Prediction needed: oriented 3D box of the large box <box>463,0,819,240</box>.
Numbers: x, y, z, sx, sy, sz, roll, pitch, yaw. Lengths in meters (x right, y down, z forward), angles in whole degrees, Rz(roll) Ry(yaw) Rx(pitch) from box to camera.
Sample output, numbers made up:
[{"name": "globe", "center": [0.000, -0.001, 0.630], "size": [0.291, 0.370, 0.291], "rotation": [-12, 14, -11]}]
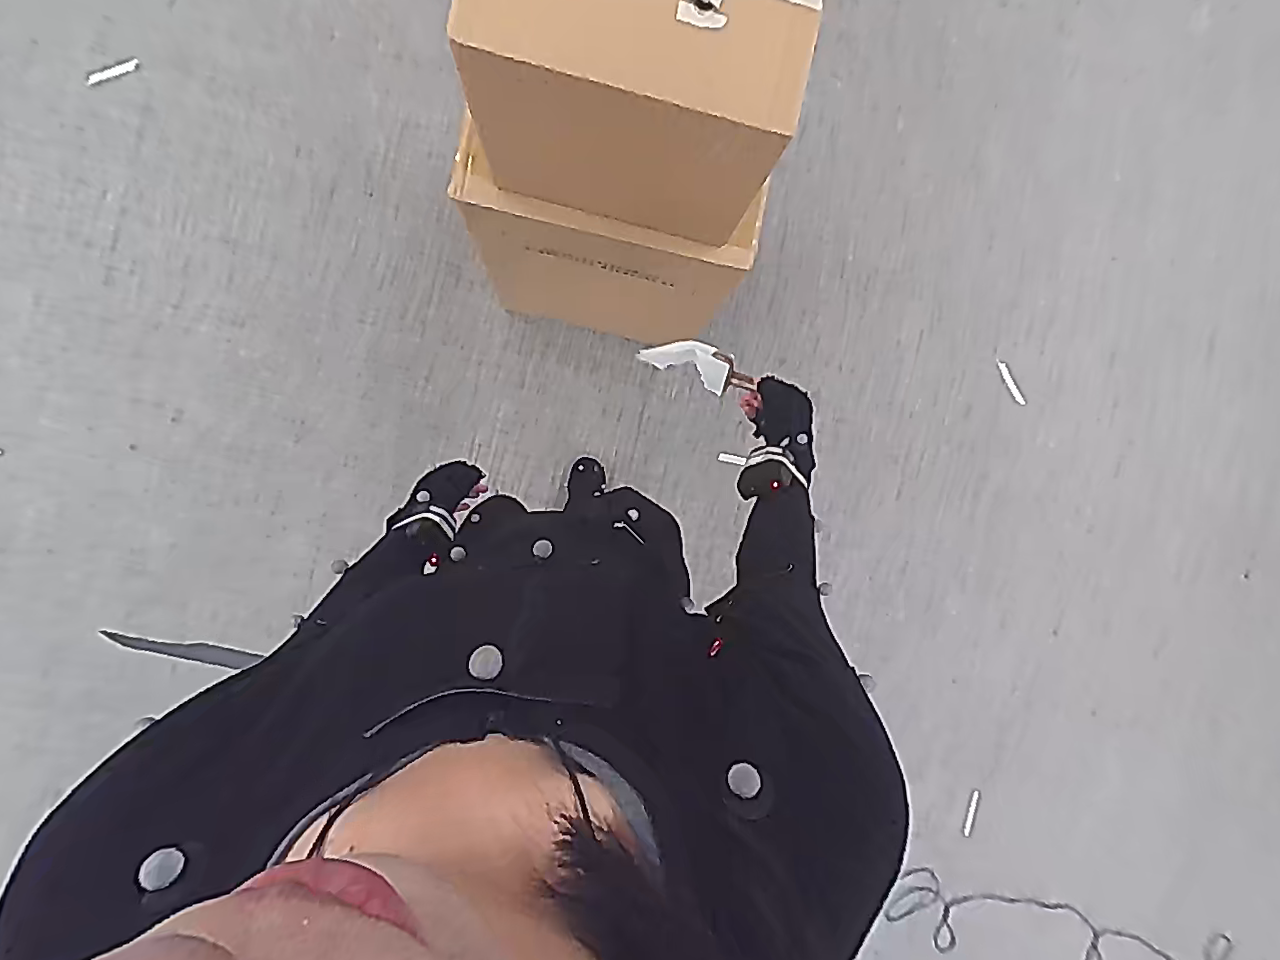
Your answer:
[{"name": "large box", "center": [0.001, -0.599, 0.776], "size": [0.408, 0.320, 0.320], "rotation": [11, 90, -7]}]
